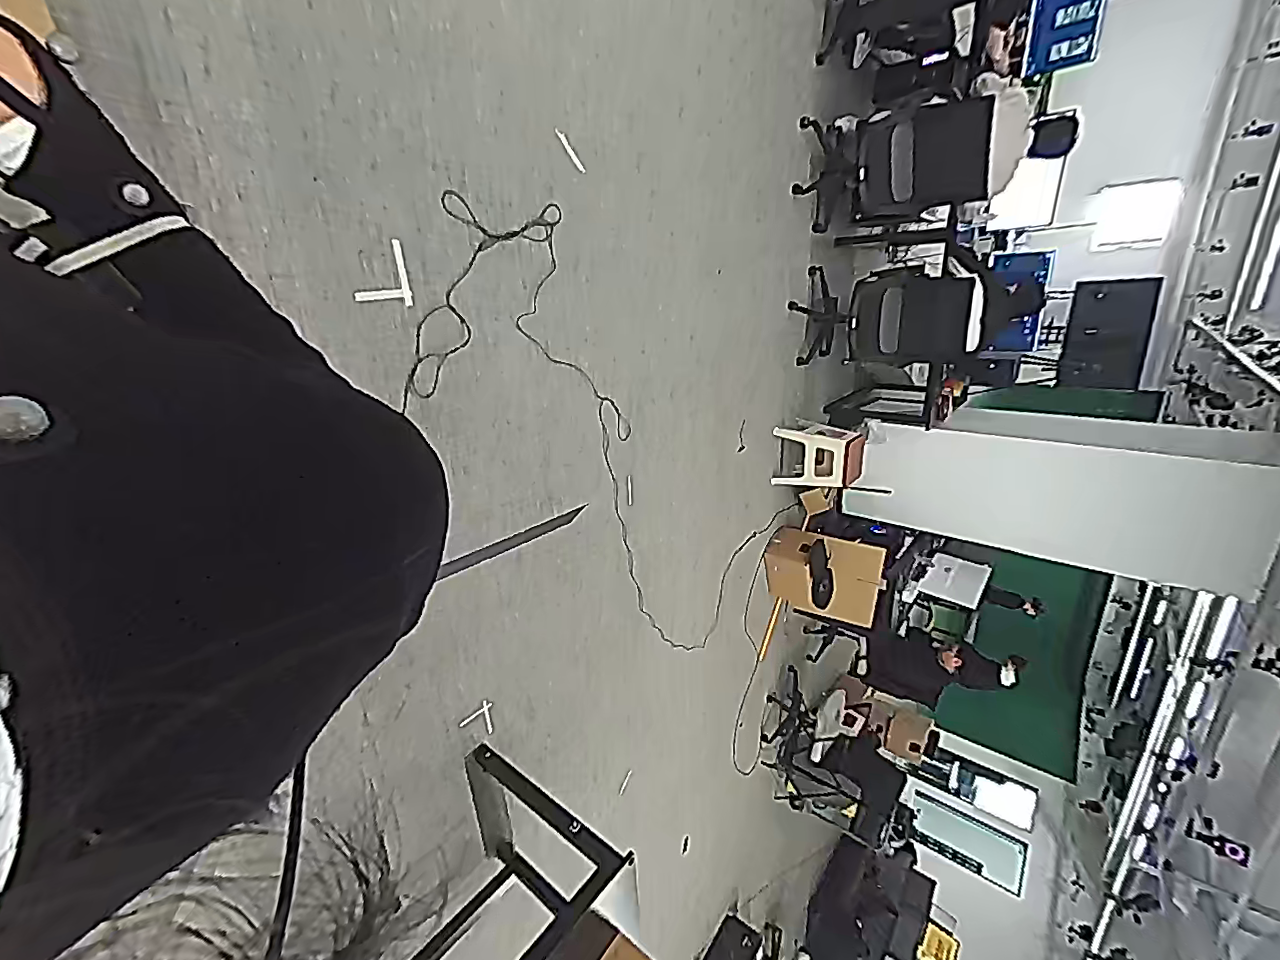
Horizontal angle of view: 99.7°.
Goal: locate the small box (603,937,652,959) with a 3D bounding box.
[{"bbox_3d":[-0.035,1.469,1.543,0.168,0.176,0.179,-29,123,-42],"label":"small box"}]
